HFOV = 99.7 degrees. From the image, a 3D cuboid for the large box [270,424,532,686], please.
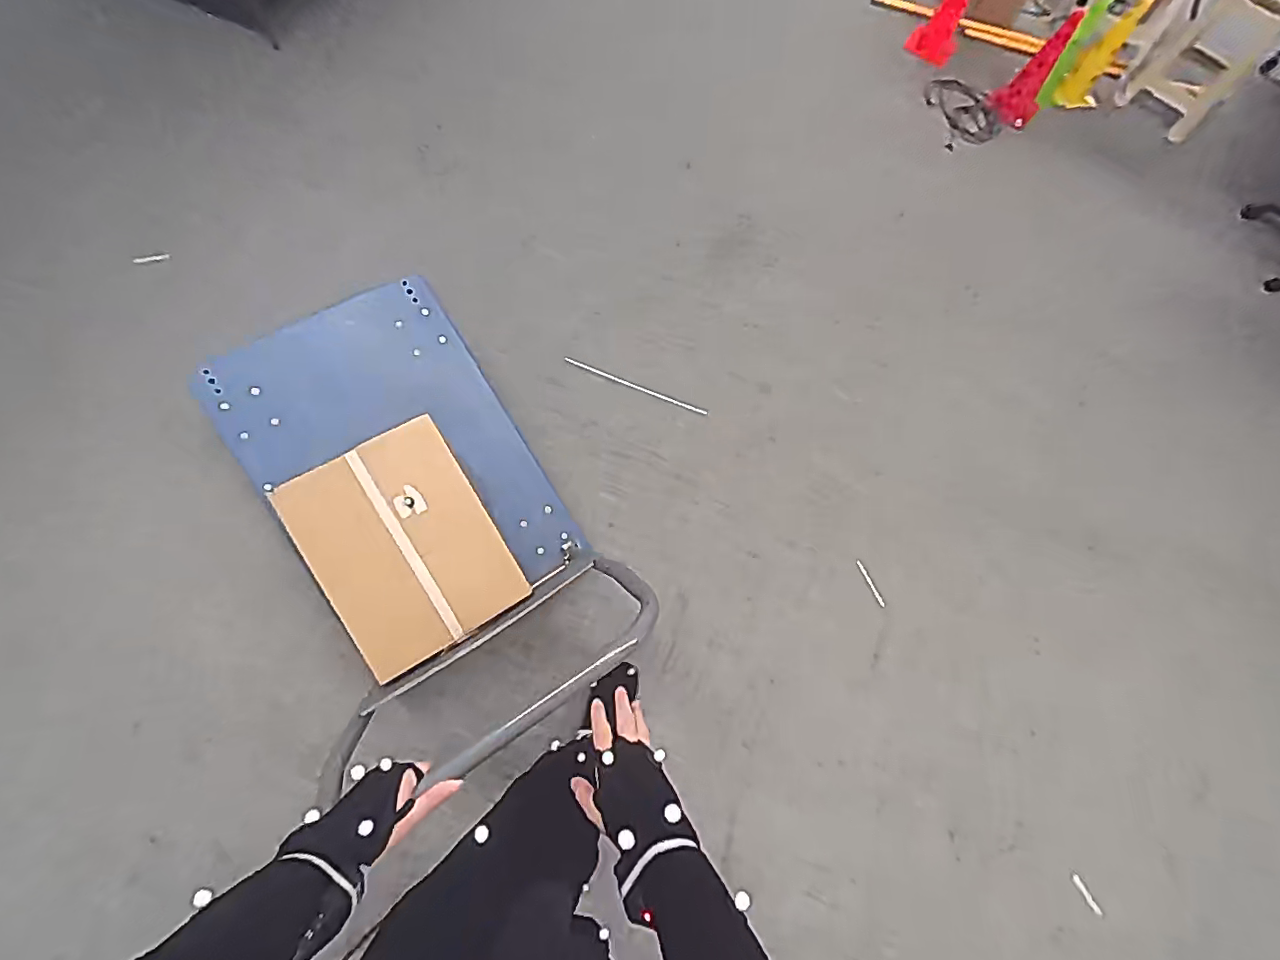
[{"bbox_3d":[-0.468,0.151,1.151,0.320,0.320,0.408,-31,91,-16],"label":"large box"}]
